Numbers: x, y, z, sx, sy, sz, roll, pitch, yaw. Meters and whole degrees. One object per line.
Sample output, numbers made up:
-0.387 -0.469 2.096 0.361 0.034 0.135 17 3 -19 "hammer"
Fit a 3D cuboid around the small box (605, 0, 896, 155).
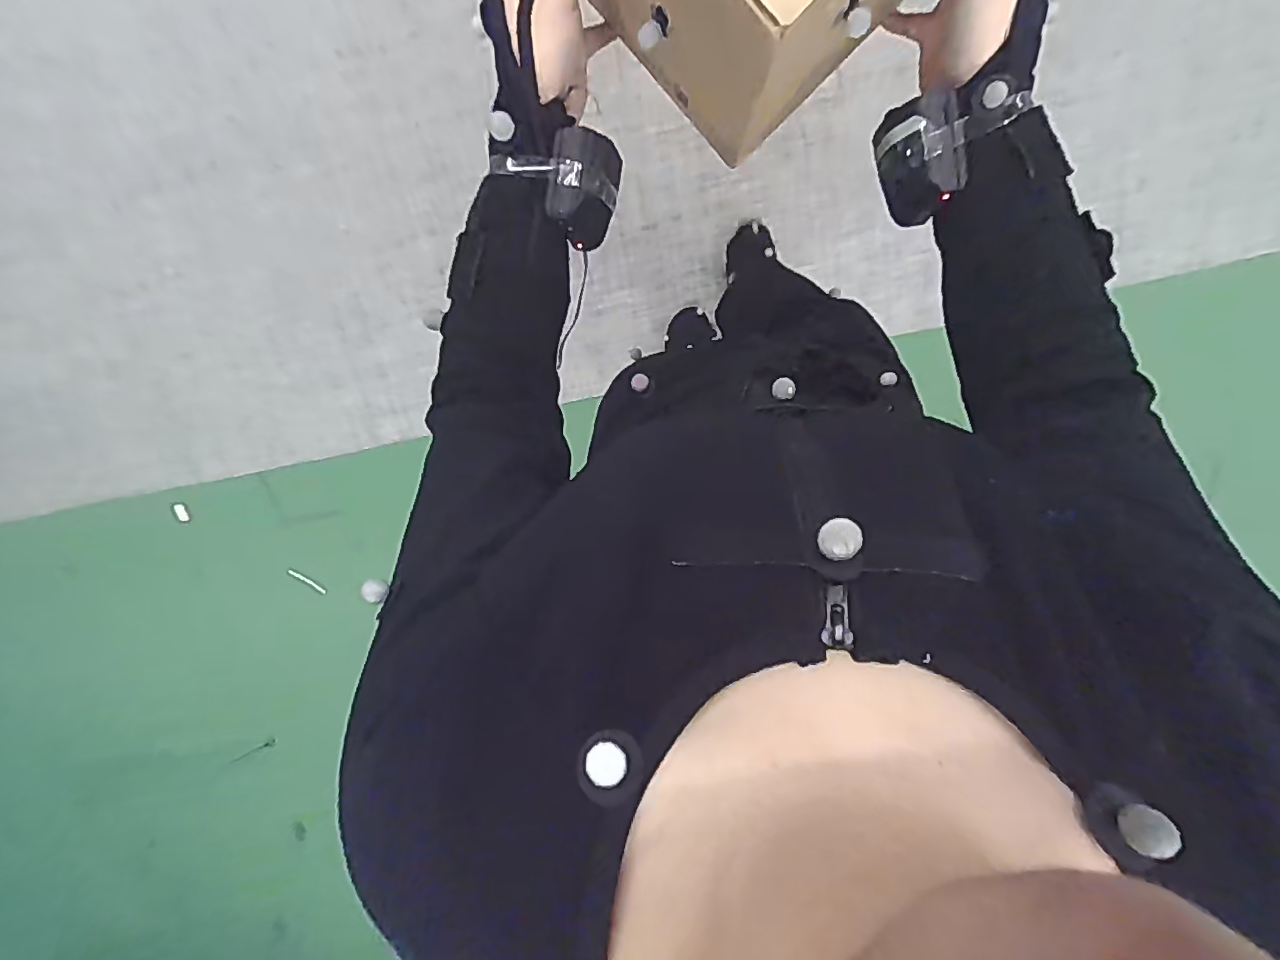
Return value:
0.074 -0.342 0.320 0.179 0.176 0.168 -43 96 9 "small box"
